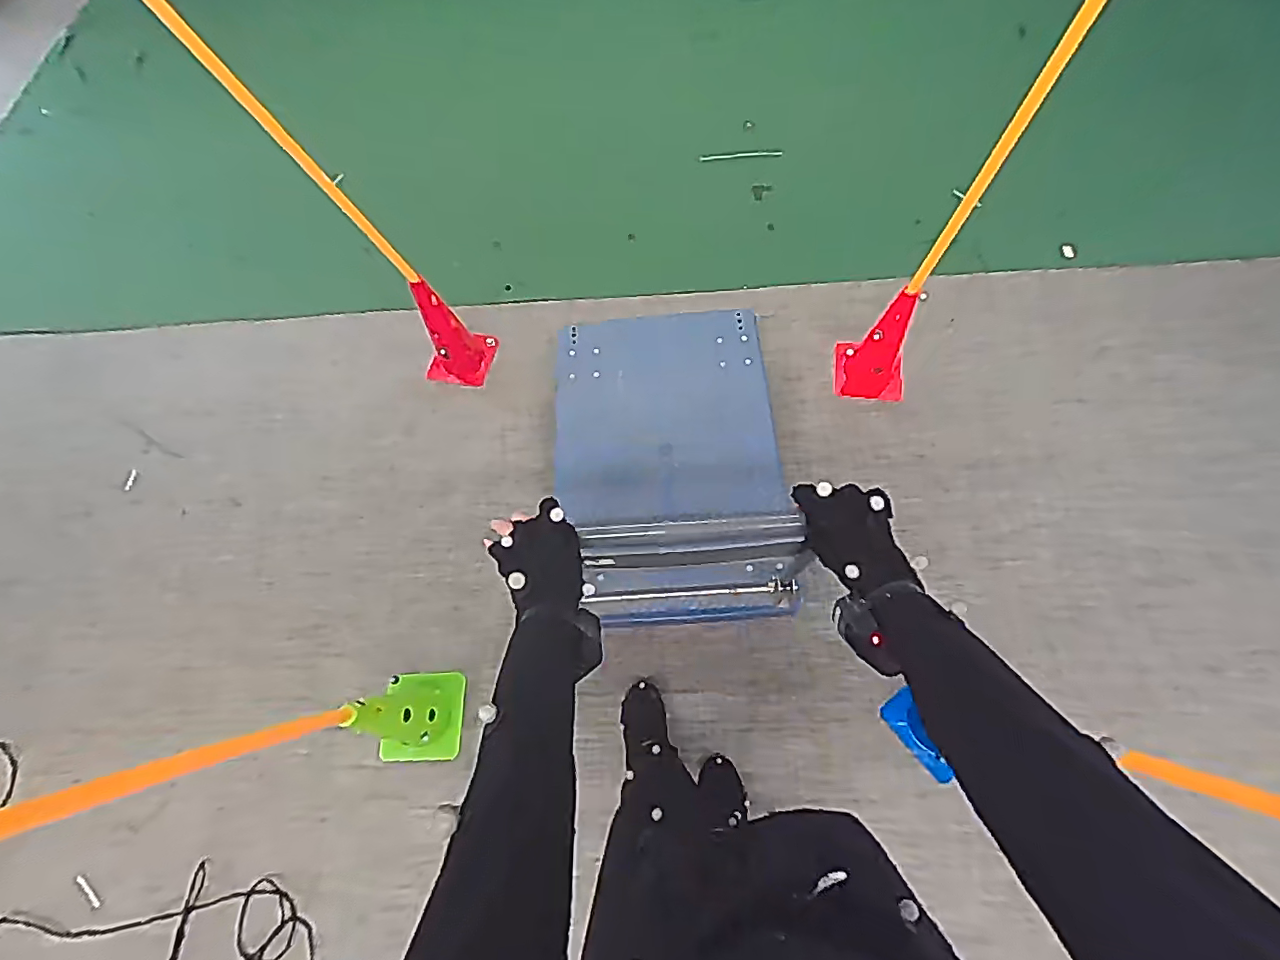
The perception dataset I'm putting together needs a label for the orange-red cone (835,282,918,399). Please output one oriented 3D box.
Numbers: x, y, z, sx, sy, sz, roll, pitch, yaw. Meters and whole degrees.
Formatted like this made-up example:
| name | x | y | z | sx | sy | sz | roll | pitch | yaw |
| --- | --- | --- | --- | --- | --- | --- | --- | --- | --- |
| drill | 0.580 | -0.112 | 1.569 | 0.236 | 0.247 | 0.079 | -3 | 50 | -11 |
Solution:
| name | x | y | z | sx | sy | sz | roll | pitch | yaw |
| --- | --- | --- | --- | --- | --- | --- | --- | --- | --- |
| orange-red cone | 0.684 | -0.405 | 1.491 | 0.198 | 0.360 | 0.199 | 8 | 69 | 9 |
